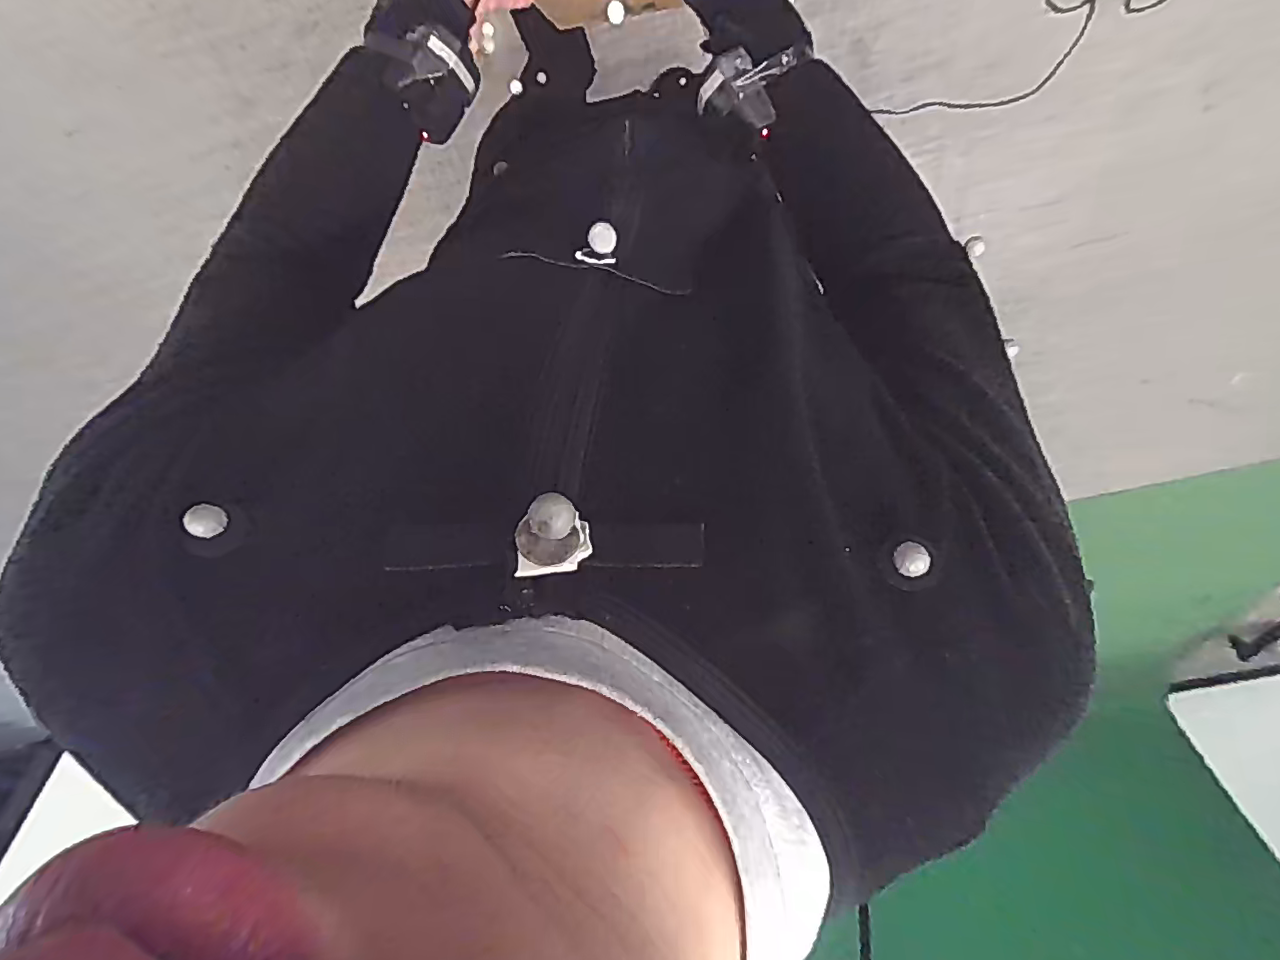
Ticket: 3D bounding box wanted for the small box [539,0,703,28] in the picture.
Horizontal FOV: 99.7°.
[{"bbox_3d":[-0.033,-0.524,0.452,0.168,0.176,0.179,3,114,14],"label":"small box"}]
